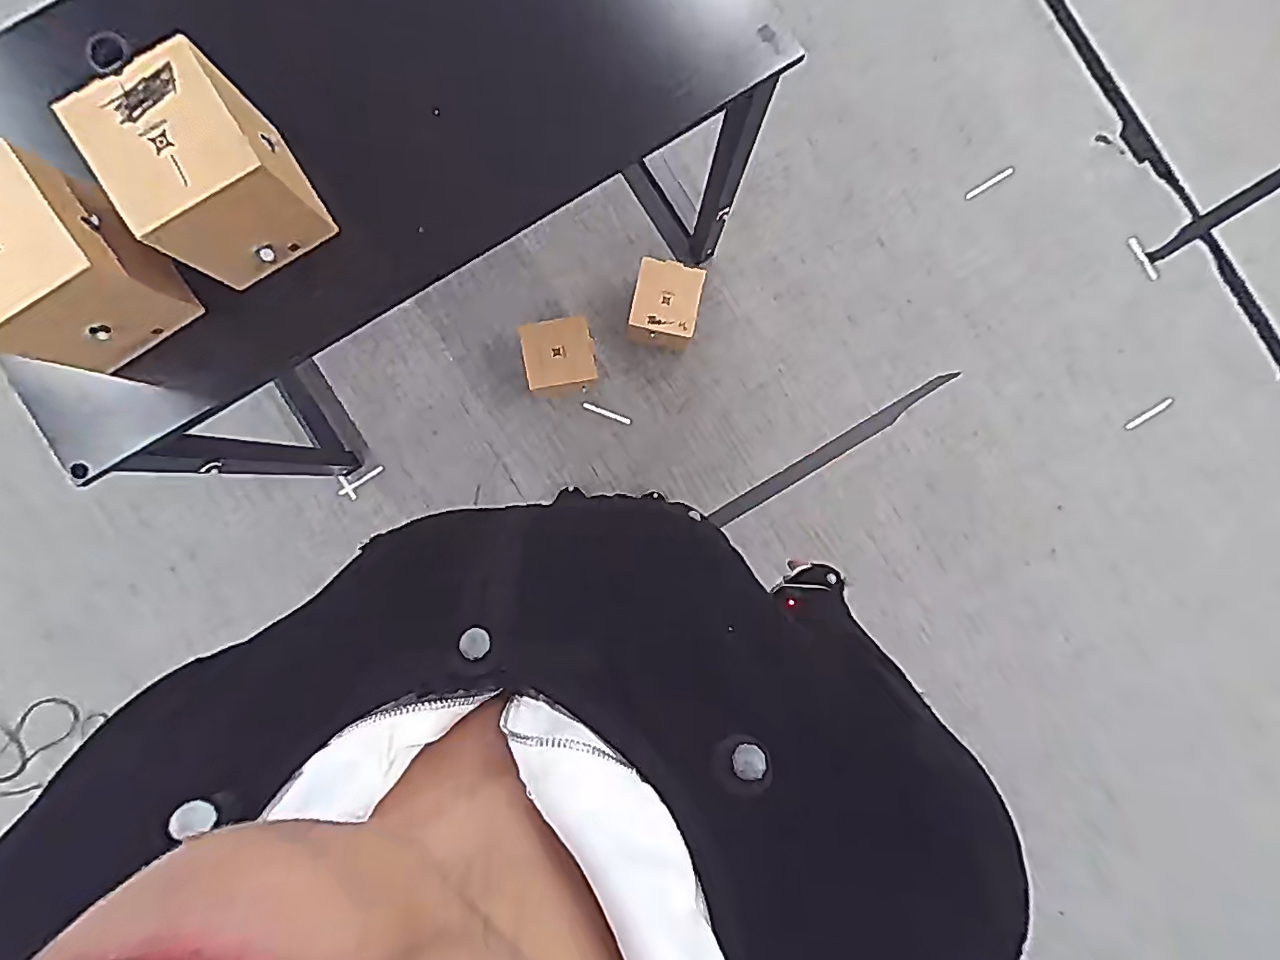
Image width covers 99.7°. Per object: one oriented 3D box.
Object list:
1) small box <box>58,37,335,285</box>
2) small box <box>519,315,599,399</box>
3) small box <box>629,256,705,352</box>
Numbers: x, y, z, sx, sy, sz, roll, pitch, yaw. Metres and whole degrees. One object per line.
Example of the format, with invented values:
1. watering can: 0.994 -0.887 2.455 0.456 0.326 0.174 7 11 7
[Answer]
1. small box: -0.537 -0.383 0.684 0.168 0.176 0.179 -32 91 -1
2. small box: -0.205 -0.317 1.424 0.179 0.176 0.168 -11 89 -1
3. small box: 0.064 -0.457 1.429 0.168 0.176 0.179 12 90 -1
